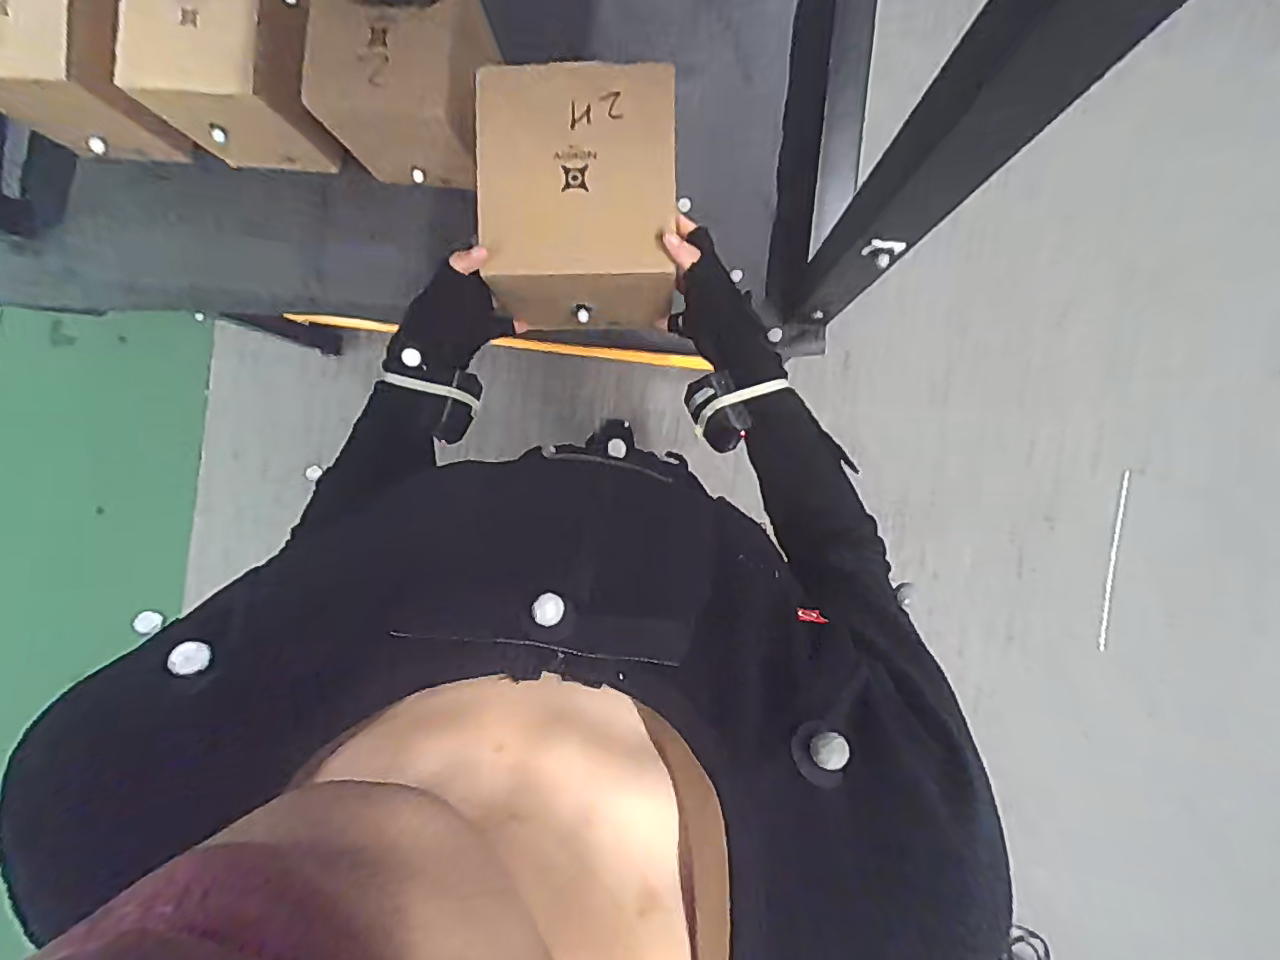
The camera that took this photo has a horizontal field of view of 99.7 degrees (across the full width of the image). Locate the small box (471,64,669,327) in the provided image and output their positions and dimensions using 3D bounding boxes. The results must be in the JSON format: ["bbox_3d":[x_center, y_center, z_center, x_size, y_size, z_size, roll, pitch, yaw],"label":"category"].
[{"bbox_3d":[-0.056,-0.255,0.526,0.168,0.176,0.179,0,89,0],"label":"small box"}]

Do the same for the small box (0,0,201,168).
[{"bbox_3d":[-0.714,-0.539,0.696,0.168,0.176,0.179,5,91,3],"label":"small box"}]
